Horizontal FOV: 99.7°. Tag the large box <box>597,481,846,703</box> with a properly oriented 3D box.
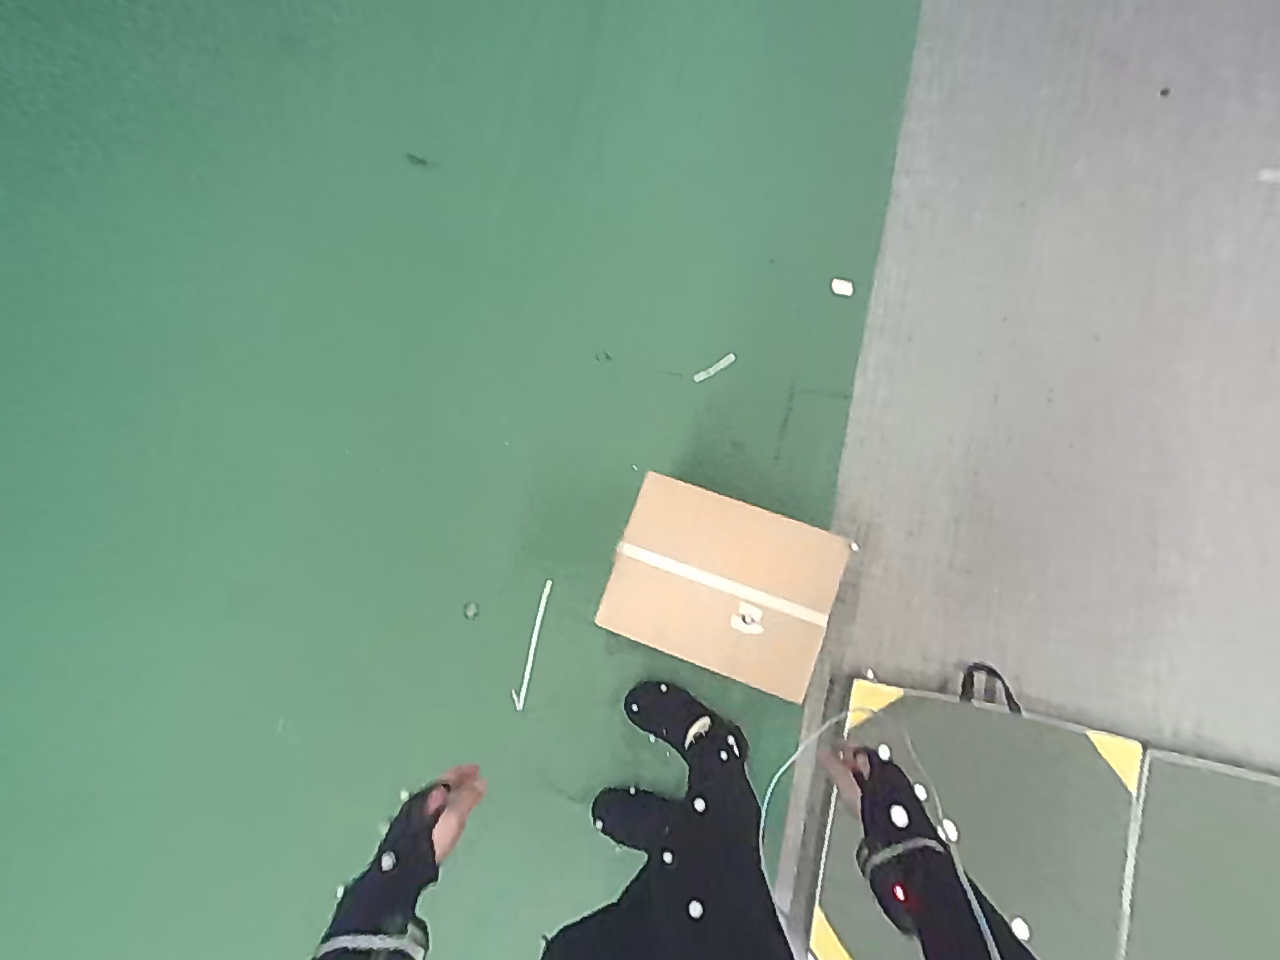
[{"bbox_3d":[0.163,0.225,1.161,0.408,0.320,0.320,19,84,8],"label":"large box"}]
